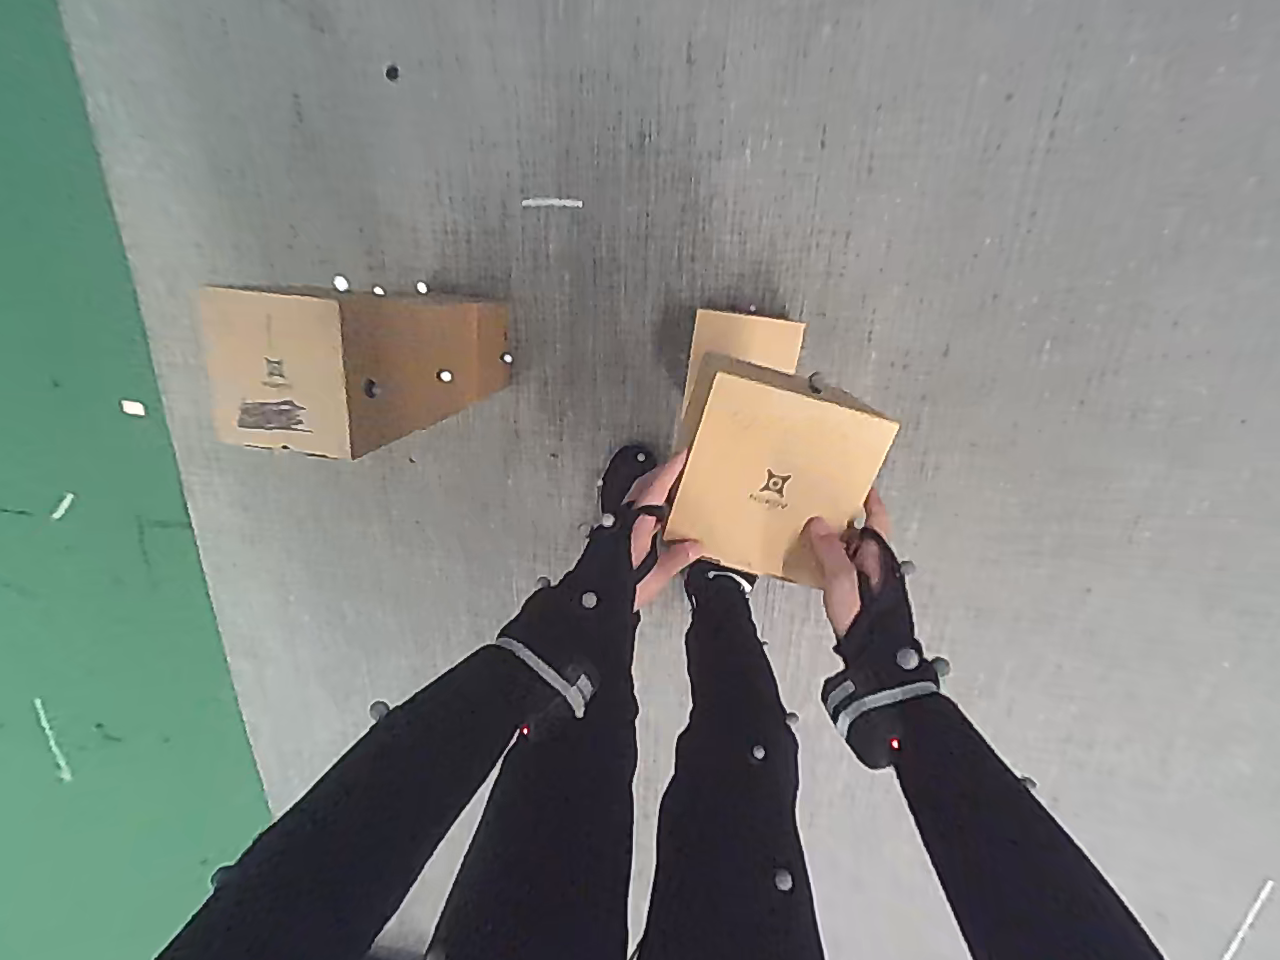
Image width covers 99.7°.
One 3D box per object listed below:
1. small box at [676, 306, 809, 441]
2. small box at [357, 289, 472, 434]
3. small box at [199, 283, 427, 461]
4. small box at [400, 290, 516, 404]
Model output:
[{"bbox_3d":[0.167,-0.188,0.912,0.168,0.176,0.179,16,111,4],"label":"small box"},{"bbox_3d":[-0.365,-0.186,0.816,0.168,0.176,0.179,9,111,5],"label":"small box"},{"bbox_3d":[-0.376,-0.139,0.658,0.168,0.176,0.179,8,110,5],"label":"small box"},{"bbox_3d":[-0.338,-0.243,0.967,0.179,0.176,0.168,9,110,4],"label":"small box"}]
